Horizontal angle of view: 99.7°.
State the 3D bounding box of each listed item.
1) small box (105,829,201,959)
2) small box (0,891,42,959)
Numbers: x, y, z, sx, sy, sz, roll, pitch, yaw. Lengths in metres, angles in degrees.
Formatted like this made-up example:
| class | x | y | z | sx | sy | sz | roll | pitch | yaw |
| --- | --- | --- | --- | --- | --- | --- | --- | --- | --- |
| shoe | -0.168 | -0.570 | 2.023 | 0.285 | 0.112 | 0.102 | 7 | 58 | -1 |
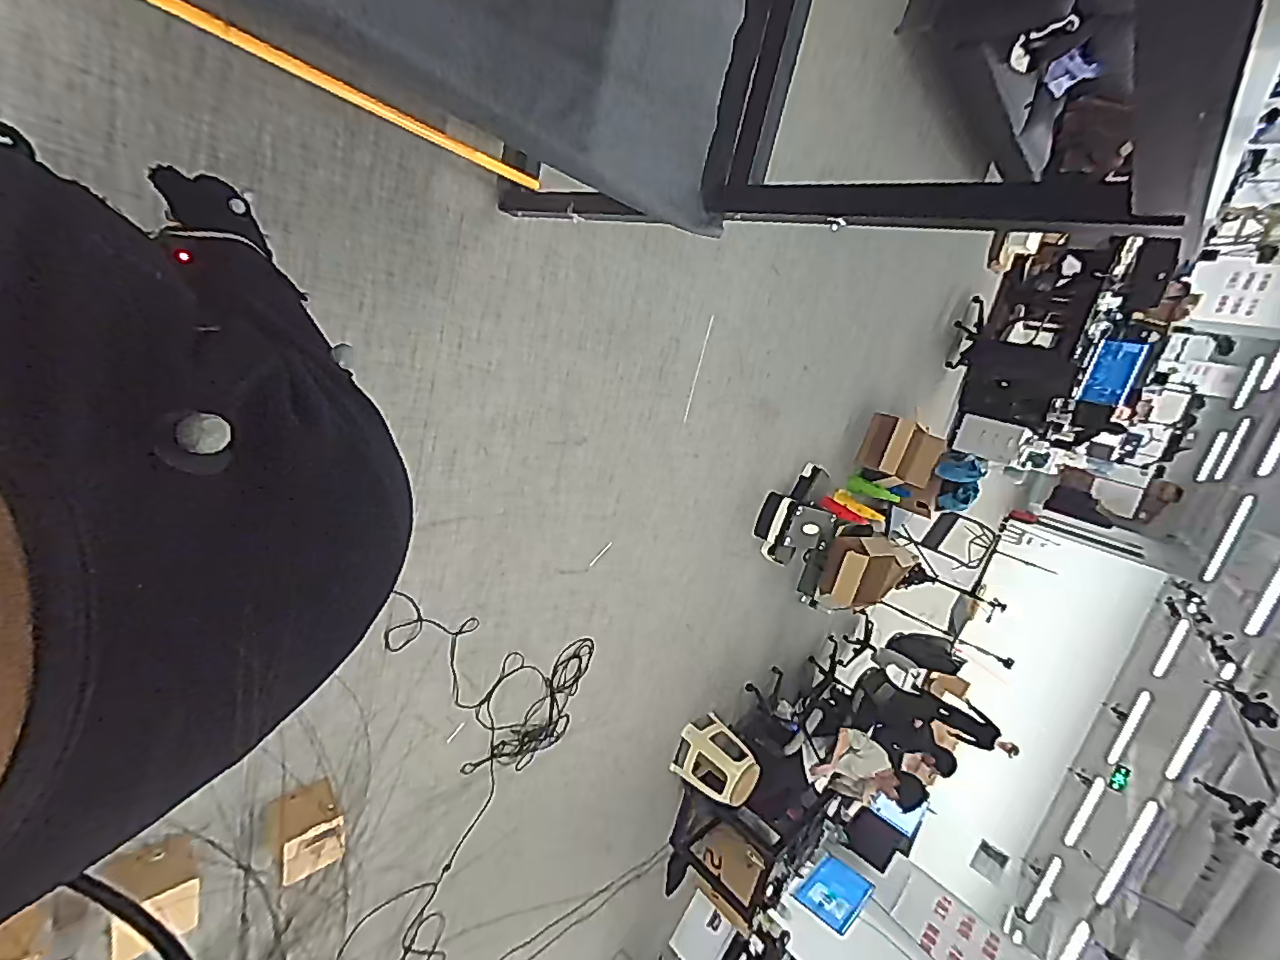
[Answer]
| class | x | y | z | sx | sy | sz | roll | pitch | yaw |
| --- | --- | --- | --- | --- | --- | --- | --- | --- | --- |
| small box | -1.265 | 1.066 | 1.404 | 0.168 | 0.176 | 0.179 | -4 | 111 | -49 |
| small box | -1.458 | 1.074 | 1.194 | 0.168 | 0.176 | 0.179 | 10 | 101 | -50 |
